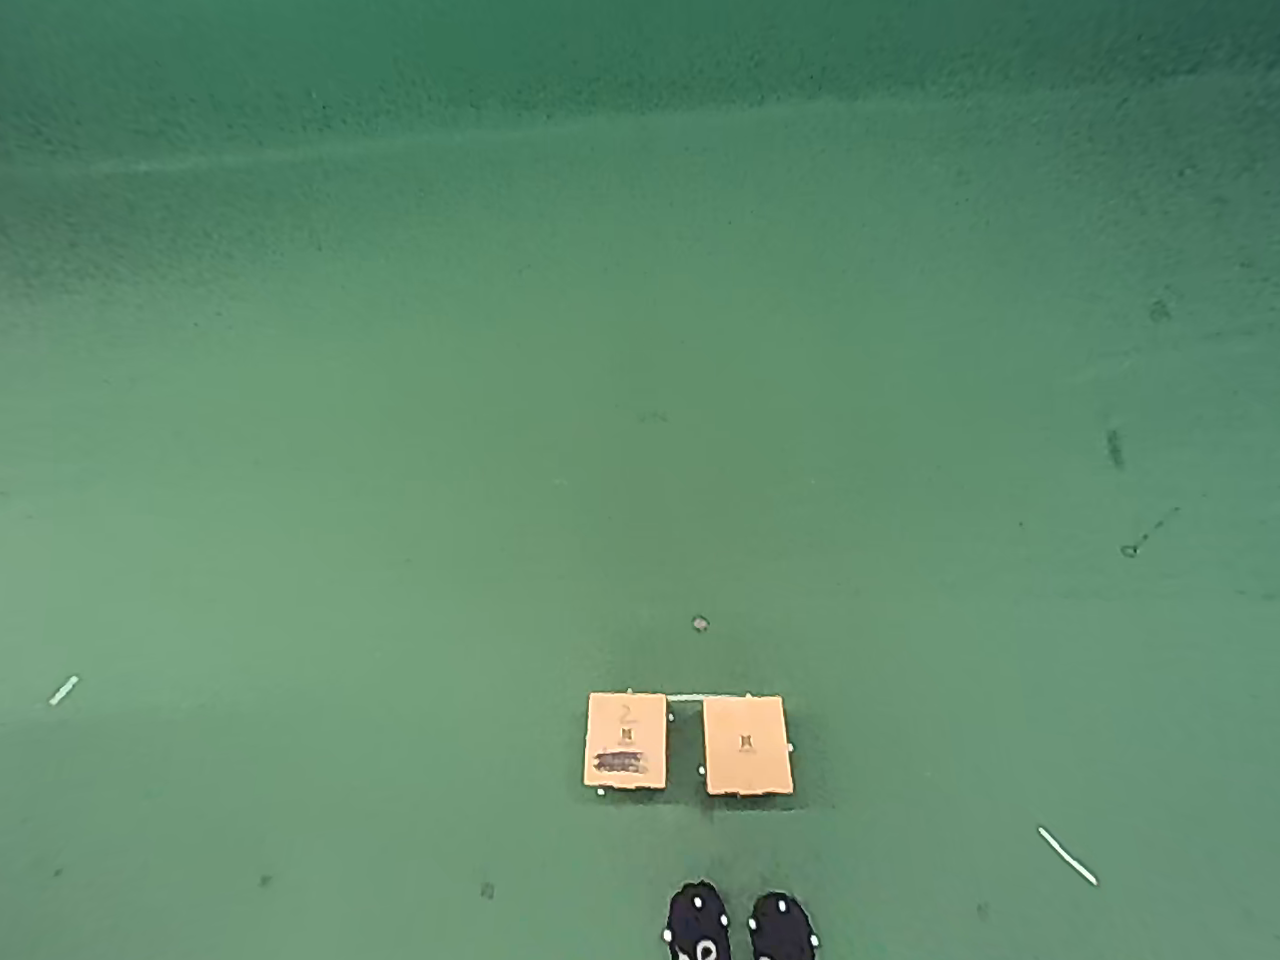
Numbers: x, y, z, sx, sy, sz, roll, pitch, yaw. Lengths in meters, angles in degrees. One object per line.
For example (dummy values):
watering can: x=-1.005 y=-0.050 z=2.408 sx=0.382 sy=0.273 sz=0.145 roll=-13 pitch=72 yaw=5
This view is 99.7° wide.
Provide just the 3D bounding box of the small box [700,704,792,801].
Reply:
small box: x=0.218 y=0.585 z=1.158 sx=0.168 sy=0.176 sz=0.179 roll=-2 pitch=62 yaw=3
